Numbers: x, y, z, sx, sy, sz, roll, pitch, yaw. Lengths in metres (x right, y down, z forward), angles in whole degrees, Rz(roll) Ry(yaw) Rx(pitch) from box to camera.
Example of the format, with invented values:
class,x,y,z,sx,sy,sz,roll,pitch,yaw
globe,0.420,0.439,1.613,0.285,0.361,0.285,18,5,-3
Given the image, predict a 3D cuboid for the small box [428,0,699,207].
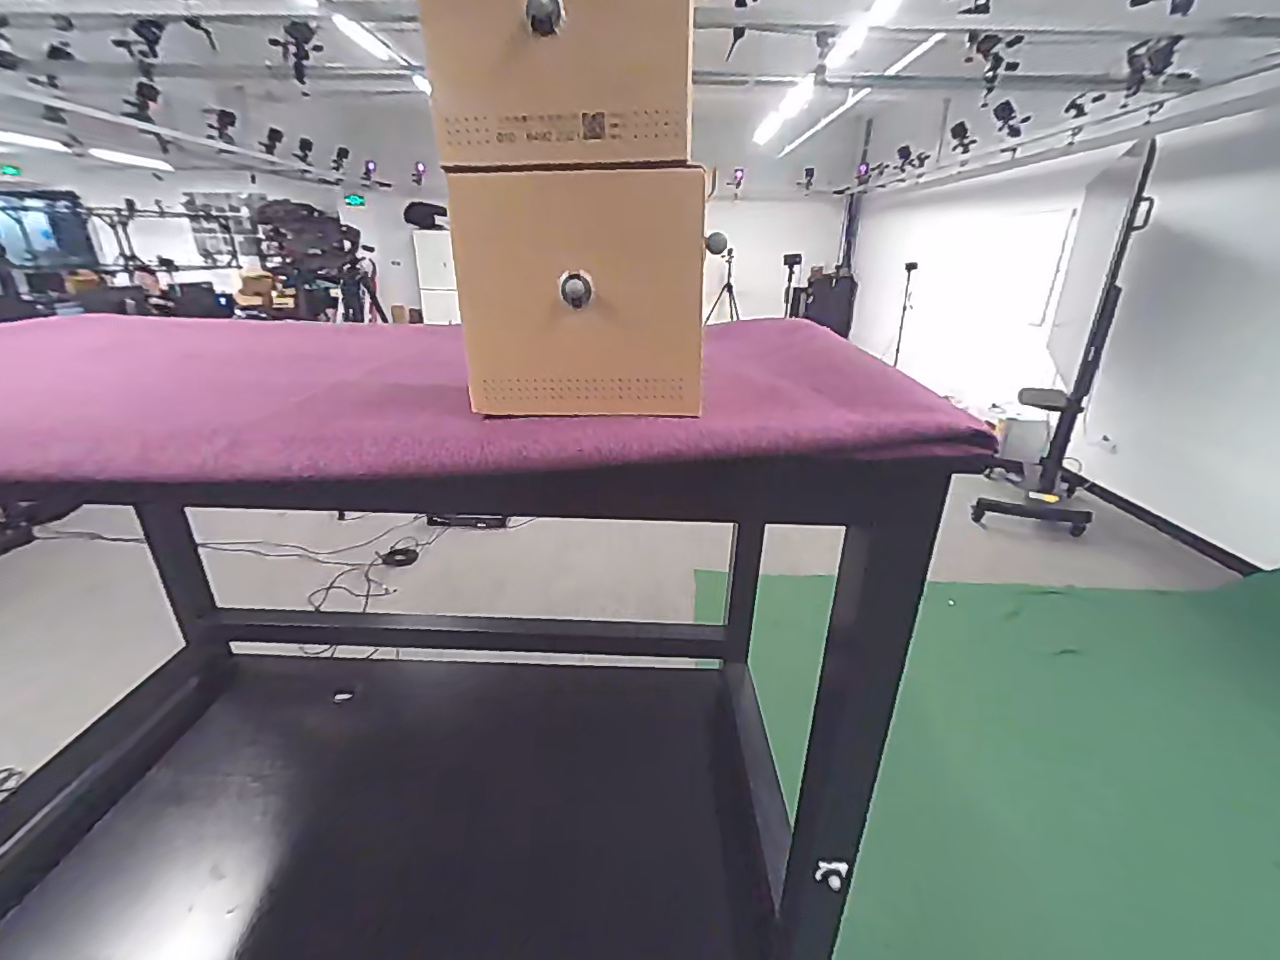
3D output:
class,x,y,z,sx,sy,sz,roll,pitch,yaw
small box,-0.041,-0.306,0.396,0.168,0.176,0.179,1,21,3
